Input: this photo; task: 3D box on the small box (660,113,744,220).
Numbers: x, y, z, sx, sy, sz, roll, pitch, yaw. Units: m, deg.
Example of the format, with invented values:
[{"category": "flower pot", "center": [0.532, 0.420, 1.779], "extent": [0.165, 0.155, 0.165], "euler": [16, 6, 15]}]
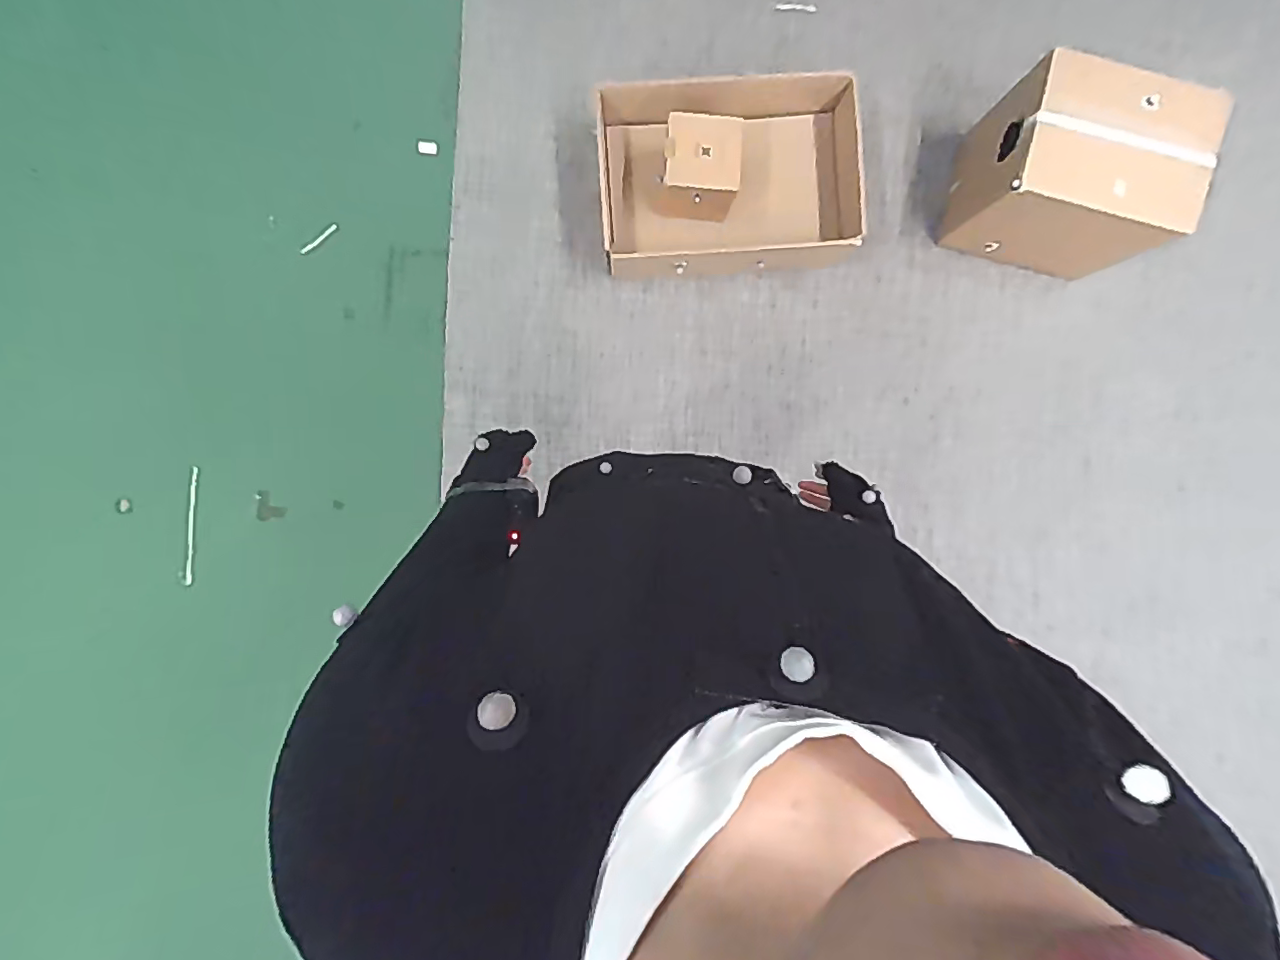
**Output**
[{"category": "small box", "center": [0.144, -0.756, 1.321], "extent": [0.179, 0.176, 0.168], "euler": [3, 92, -4]}]
